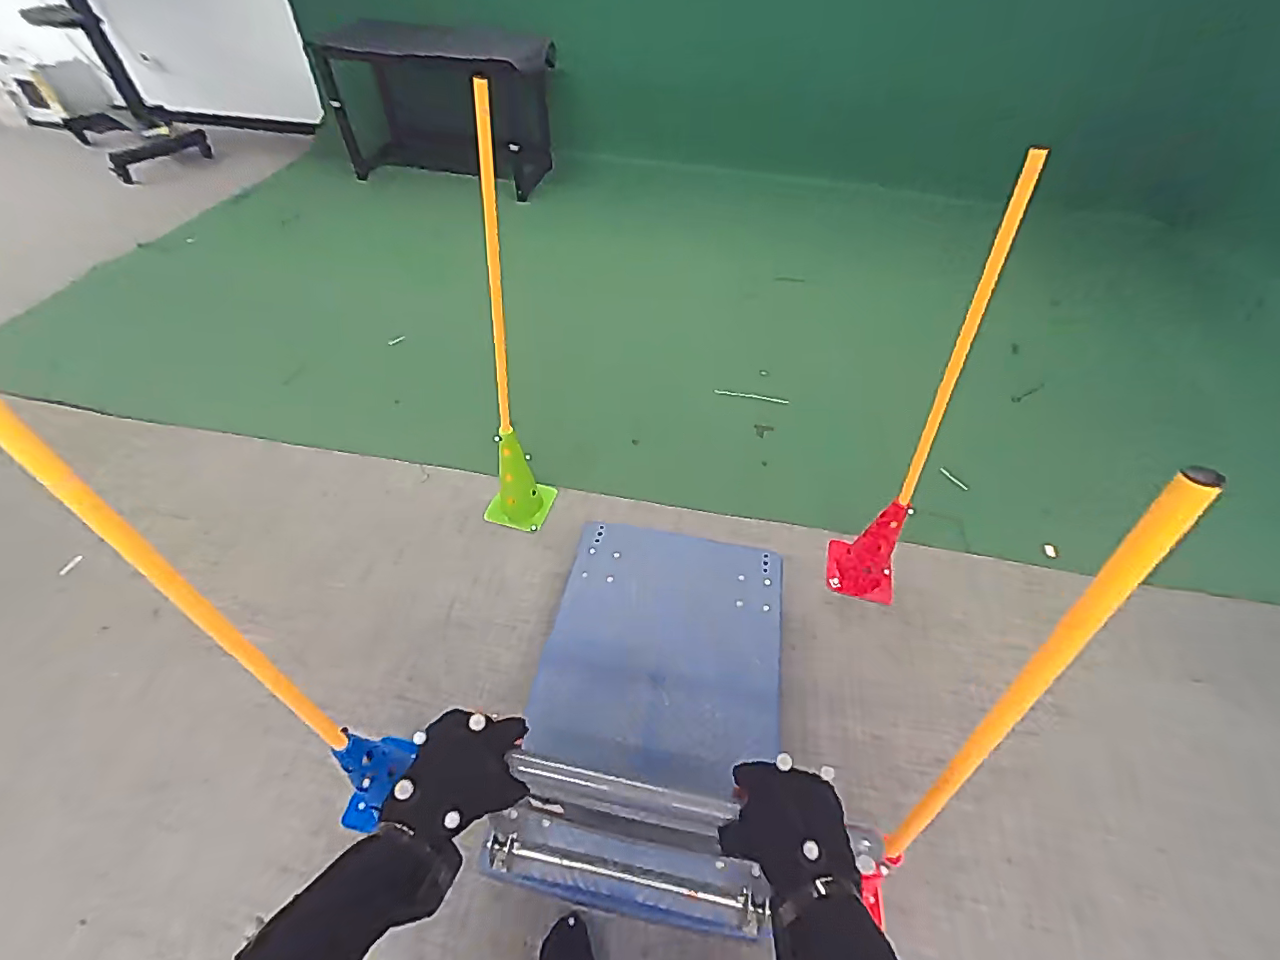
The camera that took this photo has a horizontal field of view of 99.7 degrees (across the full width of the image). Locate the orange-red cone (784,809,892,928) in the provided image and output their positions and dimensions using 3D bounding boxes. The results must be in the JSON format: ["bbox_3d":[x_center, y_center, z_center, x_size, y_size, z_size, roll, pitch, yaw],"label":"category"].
[{"bbox_3d":[0.424,0.752,1.088,0.199,0.360,0.198,8,48,7],"label":"orange-red cone"}]

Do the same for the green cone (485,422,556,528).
[{"bbox_3d":[-0.407,-0.041,1.738,0.202,0.368,0.200,12,49,9],"label":"green cone"}]
